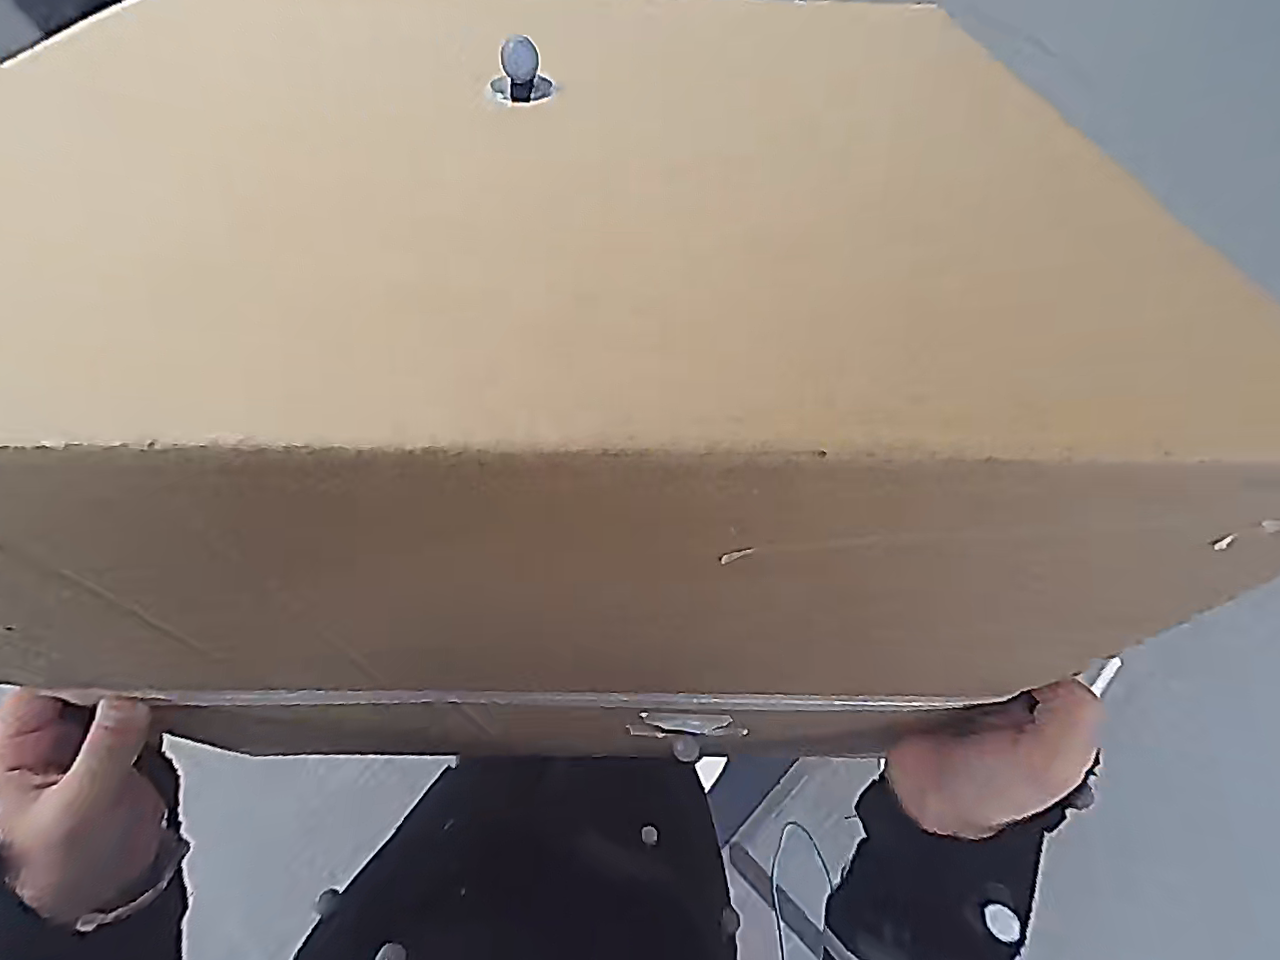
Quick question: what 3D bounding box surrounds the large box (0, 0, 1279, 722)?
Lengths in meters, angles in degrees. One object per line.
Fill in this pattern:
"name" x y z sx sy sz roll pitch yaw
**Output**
"large box" -0.027 -0.062 0.305 0.408 0.320 0.320 1 55 0
